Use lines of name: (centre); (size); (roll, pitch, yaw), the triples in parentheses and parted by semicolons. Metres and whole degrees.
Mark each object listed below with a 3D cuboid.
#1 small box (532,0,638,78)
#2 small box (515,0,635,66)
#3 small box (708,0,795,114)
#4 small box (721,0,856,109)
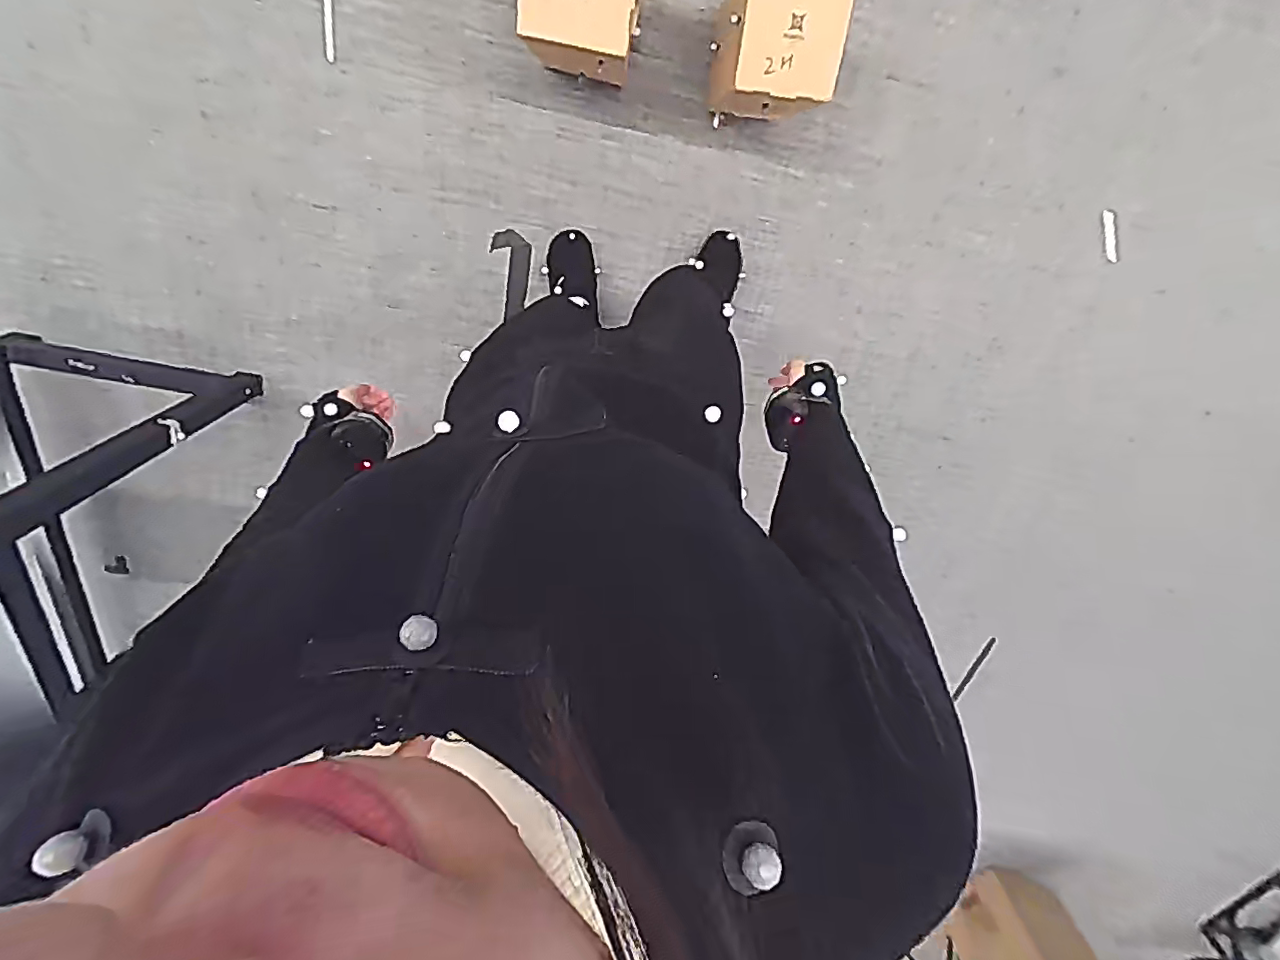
small box: (-0.098, -0.869, 1.002); (0.179, 0.176, 0.168); (9, 119, -9)
small box: (-0.094, -0.786, 0.861); (0.179, 0.176, 0.168); (8, 119, -6)
small box: (0.231, -0.824, 1.044); (0.168, 0.176, 0.179); (3, 119, -5)
small box: (0.239, -0.742, 0.901); (0.168, 0.176, 0.179); (4, 119, -5)
